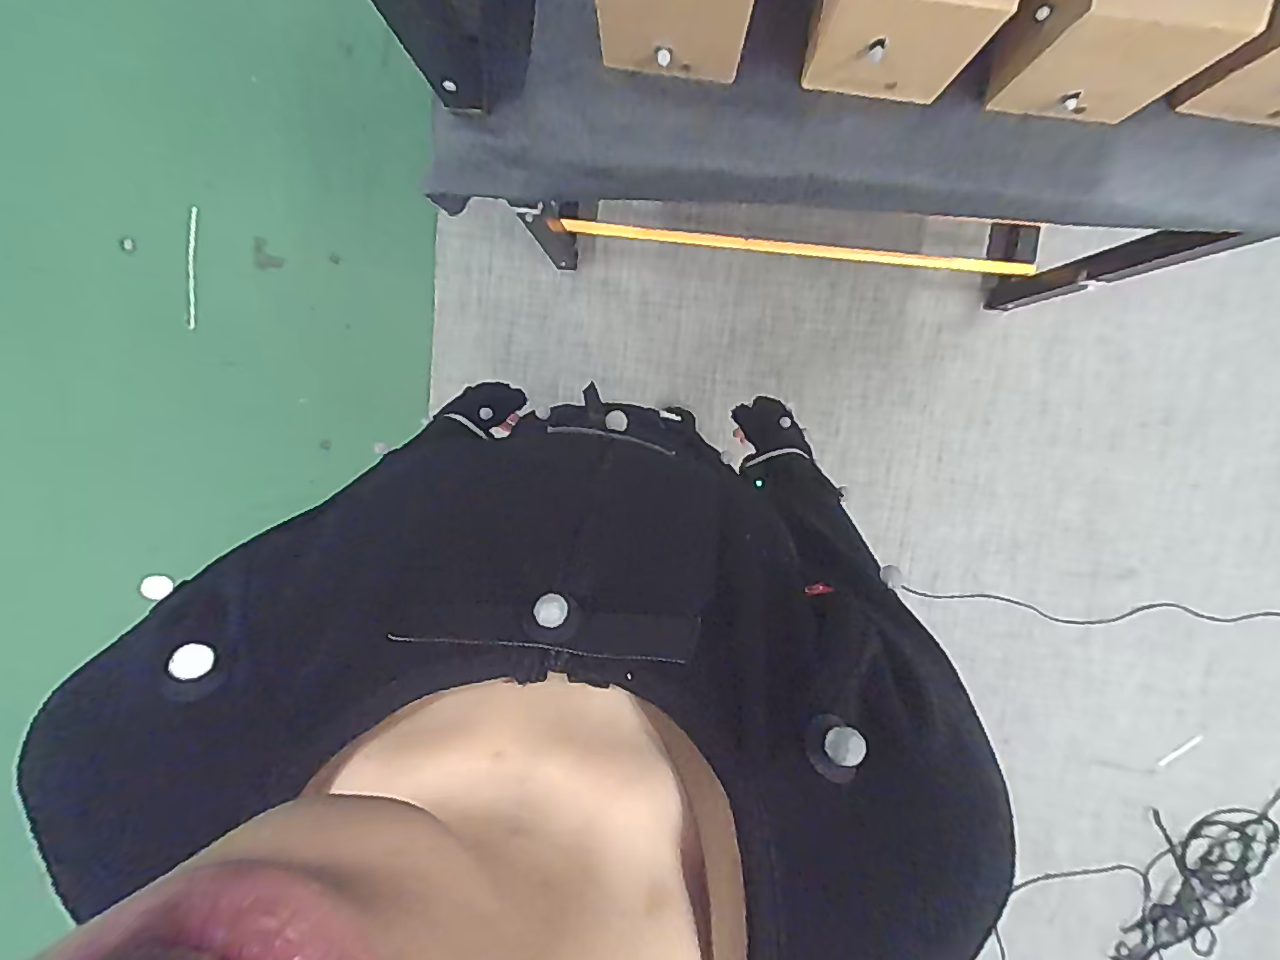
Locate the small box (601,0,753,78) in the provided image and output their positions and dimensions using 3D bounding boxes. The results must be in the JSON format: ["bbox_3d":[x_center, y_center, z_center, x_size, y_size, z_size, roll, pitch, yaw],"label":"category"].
[{"bbox_3d":[0.047,-0.584,0.581,0.168,0.176,0.179,8,99,1],"label":"small box"}]

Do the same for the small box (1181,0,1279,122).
[{"bbox_3d":[0.741,-0.513,0.568,0.168,0.176,0.179,10,97,0],"label":"small box"}]

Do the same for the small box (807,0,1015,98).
[{"bbox_3d":[0.290,-0.552,0.580,0.168,0.176,0.179,8,97,0],"label":"small box"}]
